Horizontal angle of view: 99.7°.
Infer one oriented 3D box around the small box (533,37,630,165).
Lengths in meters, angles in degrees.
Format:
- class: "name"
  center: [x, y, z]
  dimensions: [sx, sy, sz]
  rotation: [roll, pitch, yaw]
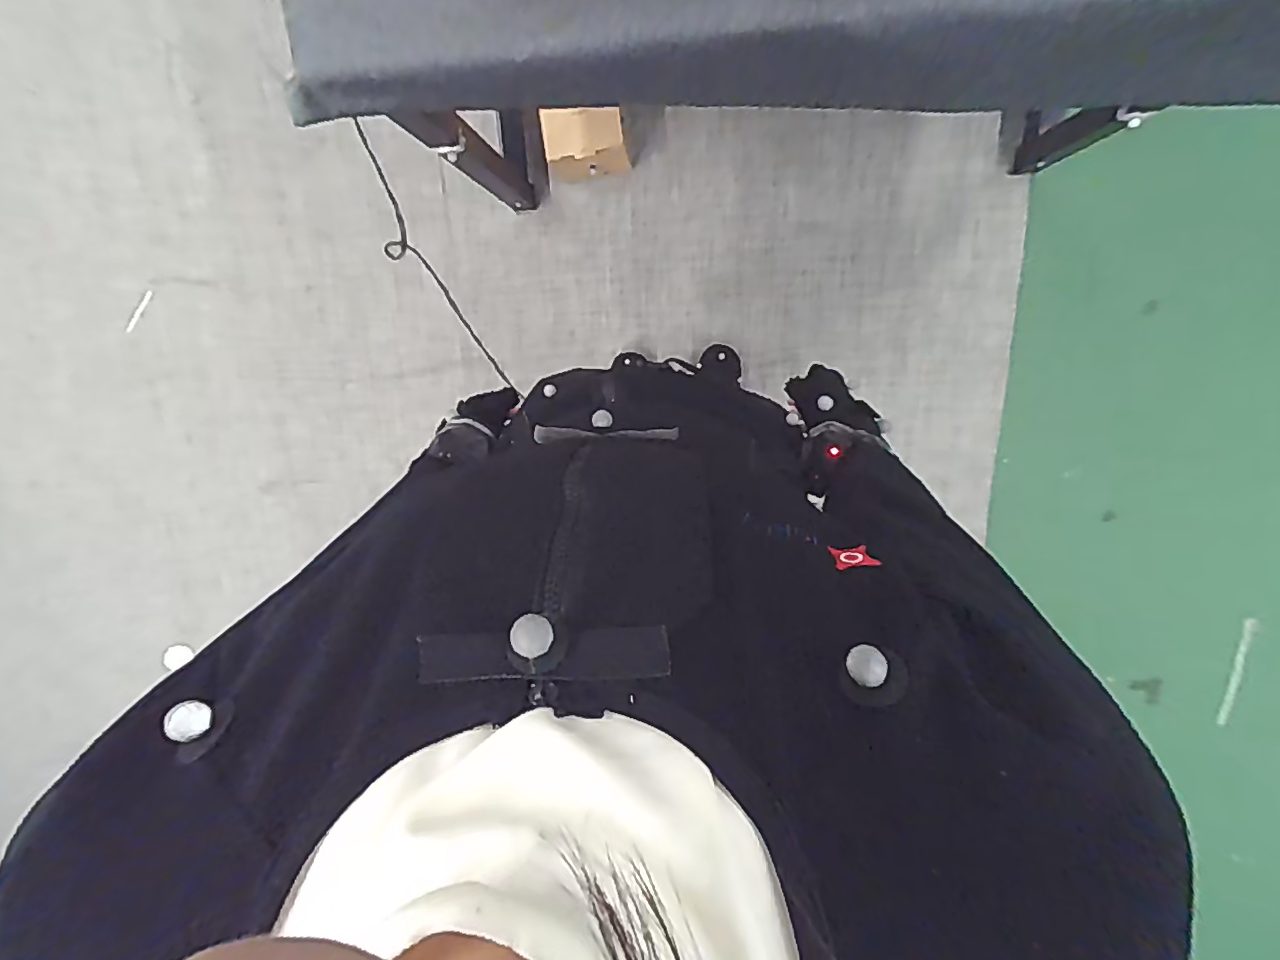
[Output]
- class: "small box"
  center: [-0.118, -0.800, 1.165]
  dimensions: [0.168, 0.176, 0.179]
  rotation: [-6, 105, 6]
